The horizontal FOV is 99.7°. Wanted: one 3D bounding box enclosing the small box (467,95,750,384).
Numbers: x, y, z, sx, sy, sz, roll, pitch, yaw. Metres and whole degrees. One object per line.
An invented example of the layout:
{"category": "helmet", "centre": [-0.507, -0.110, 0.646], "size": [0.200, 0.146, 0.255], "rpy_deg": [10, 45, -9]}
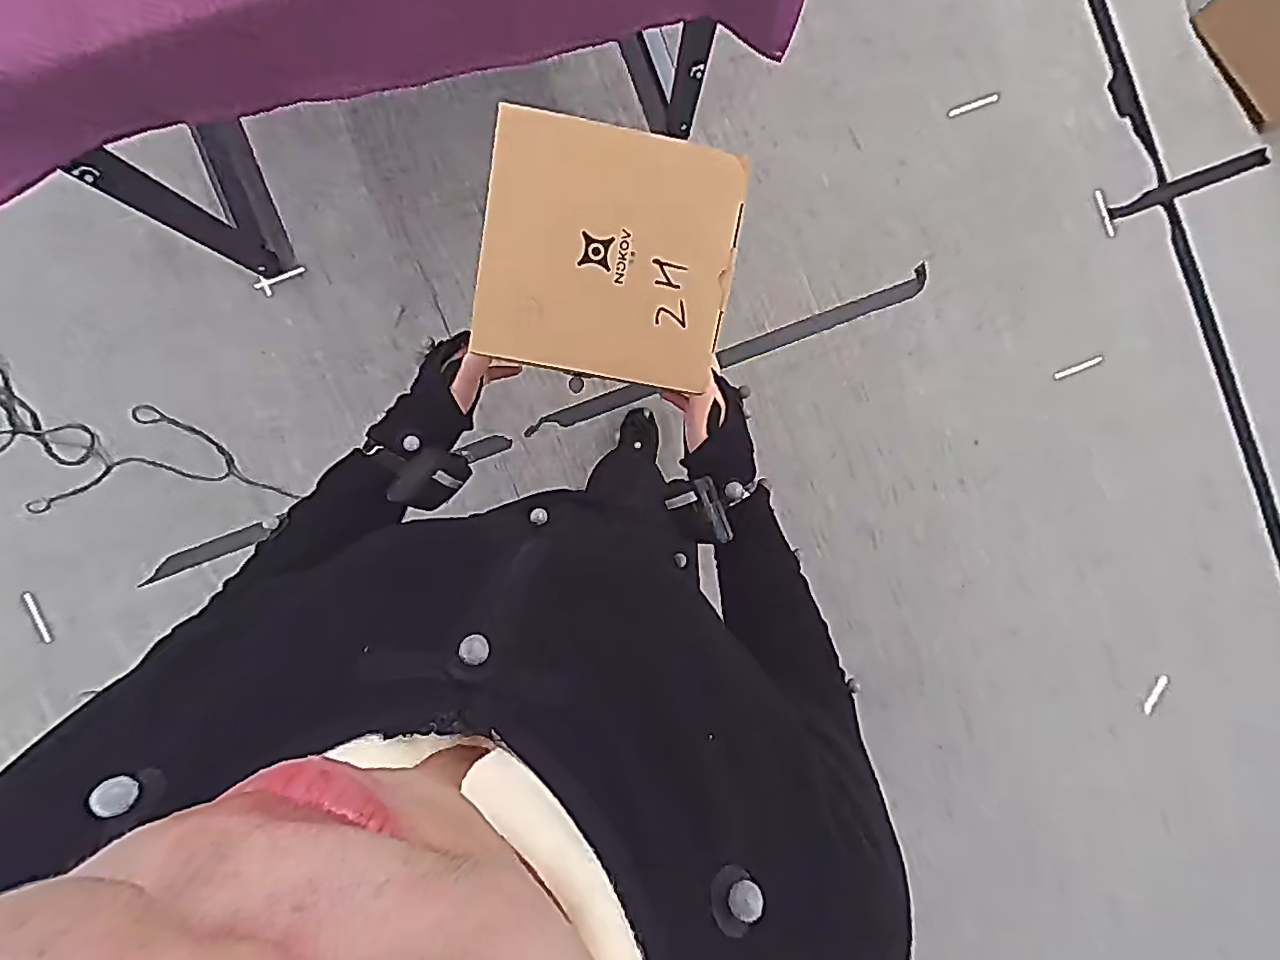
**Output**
{"category": "small box", "centre": [-0.027, -0.177, 0.455], "size": [0.179, 0.176, 0.168], "rpy_deg": [10, 100, -5]}

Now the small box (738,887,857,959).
{"category": "small box", "centre": [0.273, 0.829, 0.885], "size": [0.168, 0.176, 0.179], "rpy_deg": [-15, 95, -3]}
